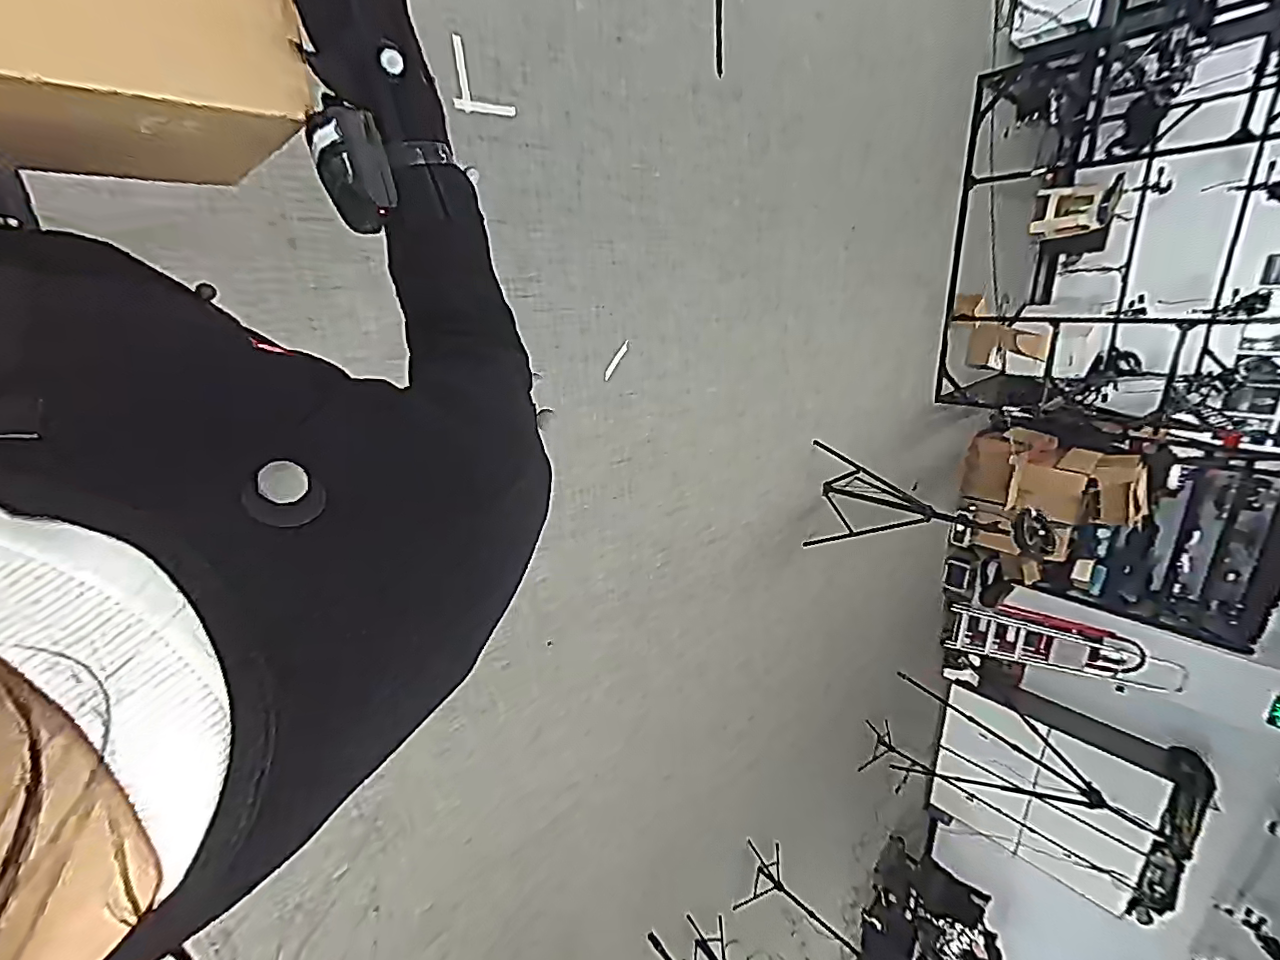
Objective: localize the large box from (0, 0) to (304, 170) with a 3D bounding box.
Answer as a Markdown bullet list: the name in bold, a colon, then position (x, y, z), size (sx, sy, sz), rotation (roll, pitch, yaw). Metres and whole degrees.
- **large box**: position (-0.467, -0.368, 0.272), size (0.408, 0.320, 0.320), rotation (-20, 118, -40)
